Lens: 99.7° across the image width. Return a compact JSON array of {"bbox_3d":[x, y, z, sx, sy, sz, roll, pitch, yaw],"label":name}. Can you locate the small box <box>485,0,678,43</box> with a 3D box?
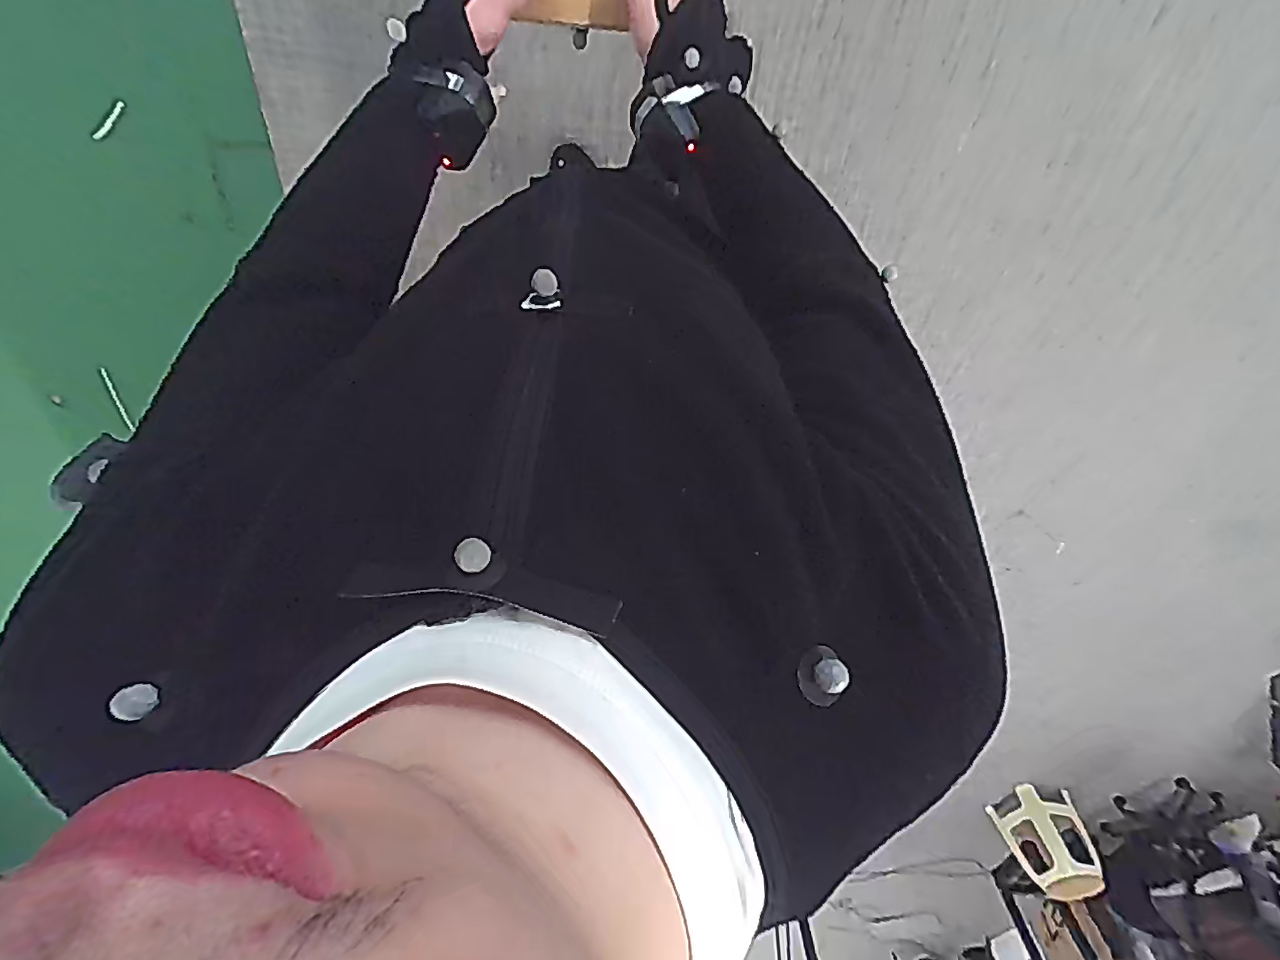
[{"bbox_3d":[-0.042,-0.509,0.478,0.168,0.176,0.179,5,129,-3],"label":"small box"}]

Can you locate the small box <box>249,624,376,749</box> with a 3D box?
[{"bbox_3d":[-0.656,0.418,1.106,0.168,0.176,0.179,10,124,-9],"label":"small box"}]
